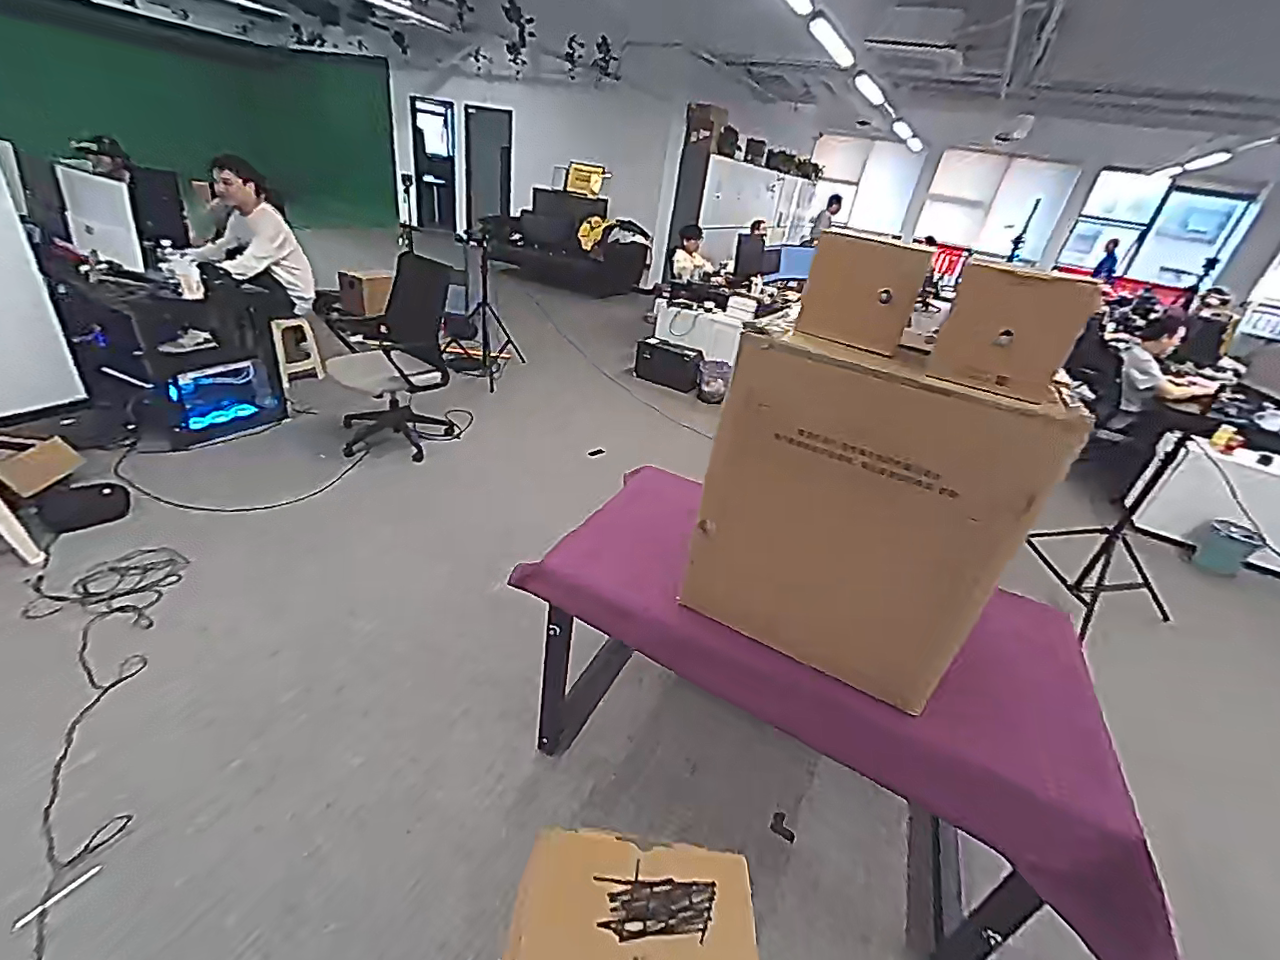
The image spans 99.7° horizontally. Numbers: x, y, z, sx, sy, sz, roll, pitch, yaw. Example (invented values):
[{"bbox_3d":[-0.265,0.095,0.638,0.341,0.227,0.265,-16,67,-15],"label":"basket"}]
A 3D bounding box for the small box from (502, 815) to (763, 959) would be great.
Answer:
[{"bbox_3d":[-0.017,0.378,0.383,0.168,0.176,0.179,12,33,-7],"label":"small box"}]

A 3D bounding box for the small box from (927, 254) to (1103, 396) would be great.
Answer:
[{"bbox_3d":[0.561,-0.241,0.832,0.168,0.176,0.179,22,32,22],"label":"small box"}]

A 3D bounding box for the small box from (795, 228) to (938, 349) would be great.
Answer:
[{"bbox_3d":[0.396,-0.337,0.952,0.179,0.176,0.168,22,31,21],"label":"small box"}]
